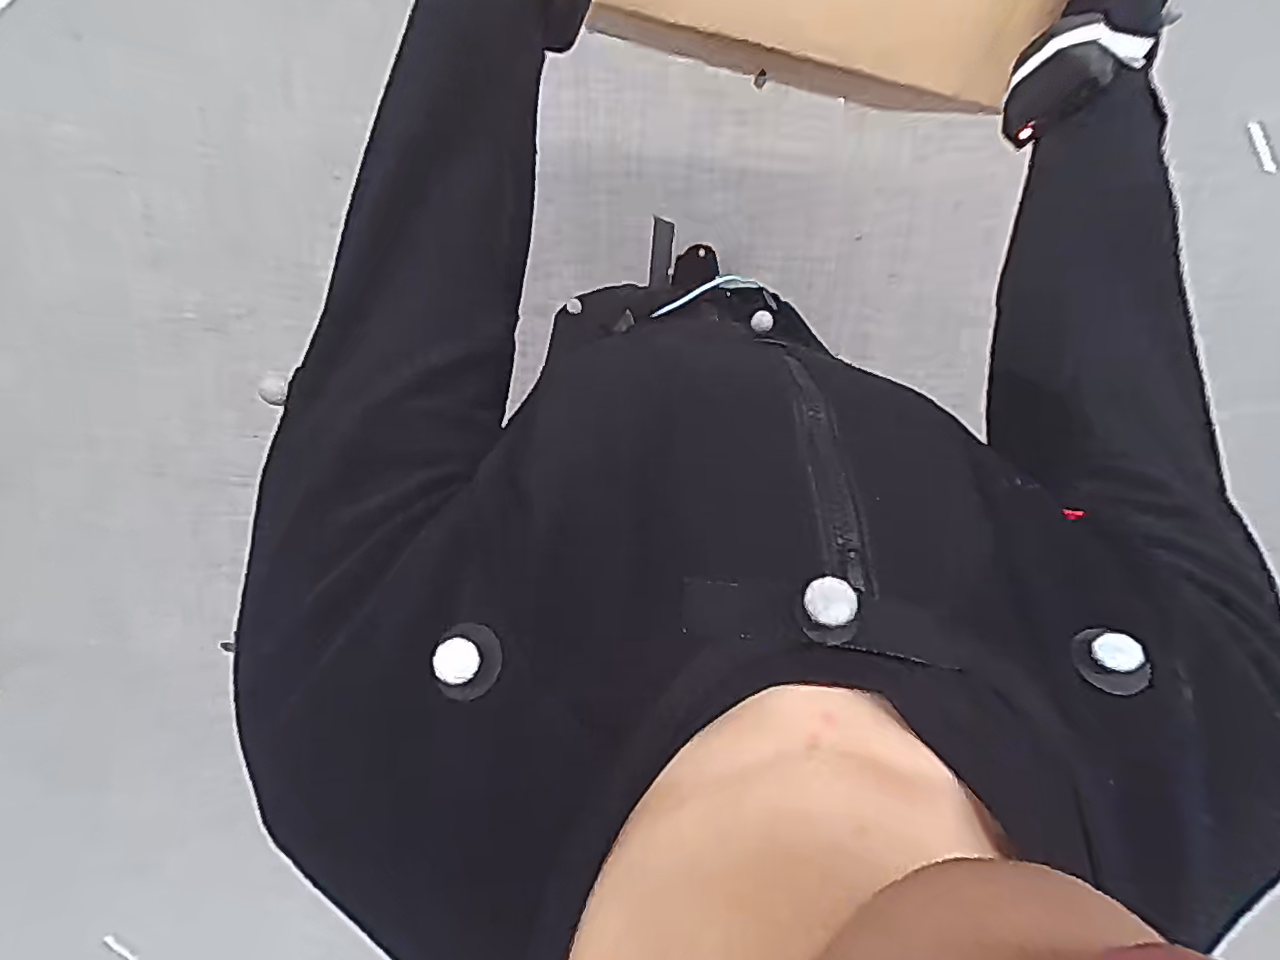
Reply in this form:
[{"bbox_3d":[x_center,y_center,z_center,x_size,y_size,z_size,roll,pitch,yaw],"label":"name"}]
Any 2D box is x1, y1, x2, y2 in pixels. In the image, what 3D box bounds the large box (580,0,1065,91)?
[{"bbox_3d":[0.159,-0.566,0.472,0.408,0.320,0.320,10,124,-6],"label":"large box"}]
